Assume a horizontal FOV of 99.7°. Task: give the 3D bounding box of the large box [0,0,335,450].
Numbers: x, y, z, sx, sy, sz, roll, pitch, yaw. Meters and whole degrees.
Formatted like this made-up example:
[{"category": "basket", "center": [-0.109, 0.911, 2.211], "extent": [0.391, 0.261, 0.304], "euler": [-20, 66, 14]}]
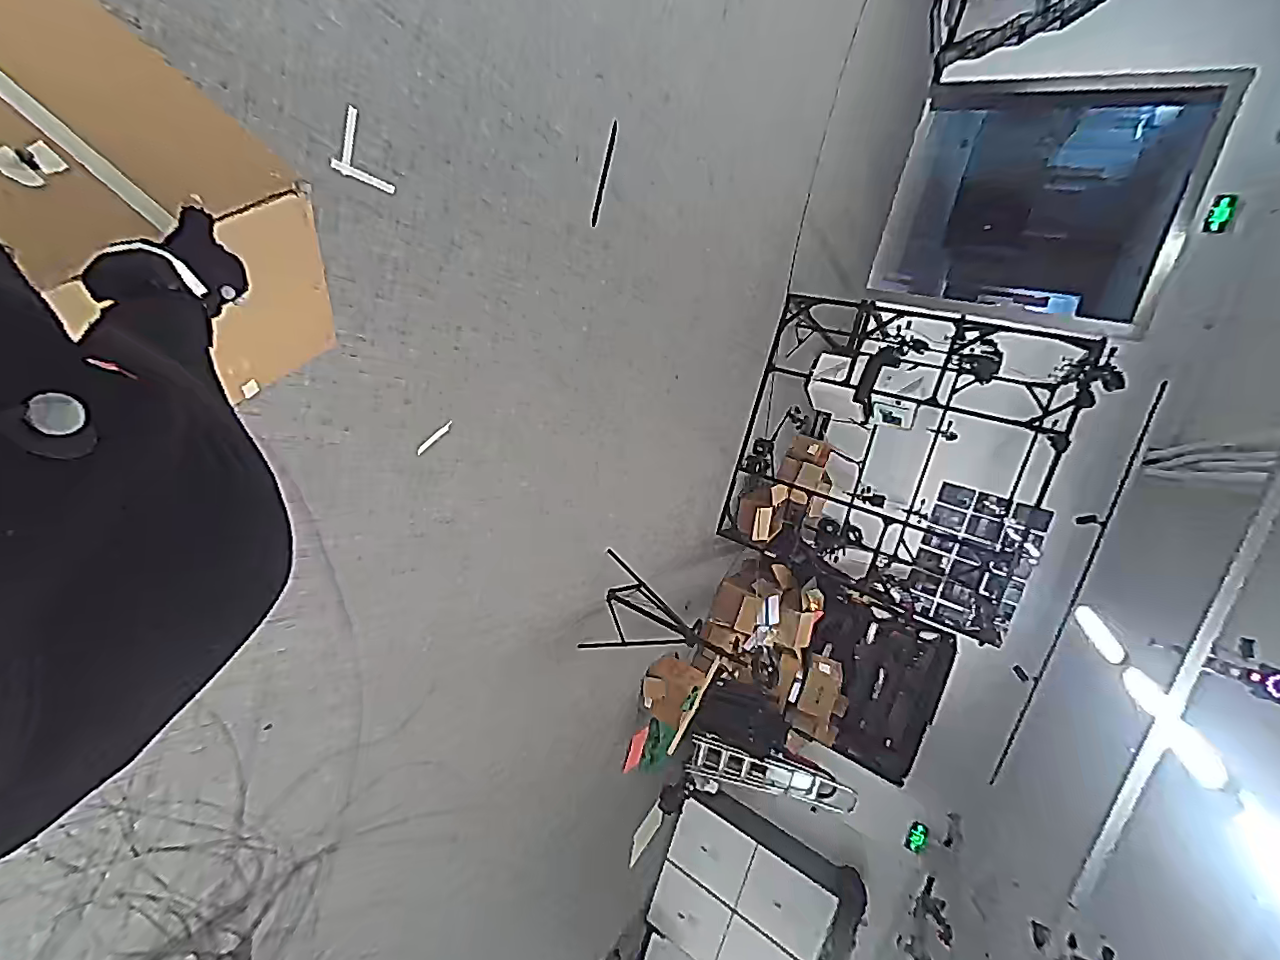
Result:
[{"category": "large box", "center": [-0.692, -0.319, 0.709], "extent": [0.320, 0.408, 0.320], "euler": [-50, -178, -31]}]
